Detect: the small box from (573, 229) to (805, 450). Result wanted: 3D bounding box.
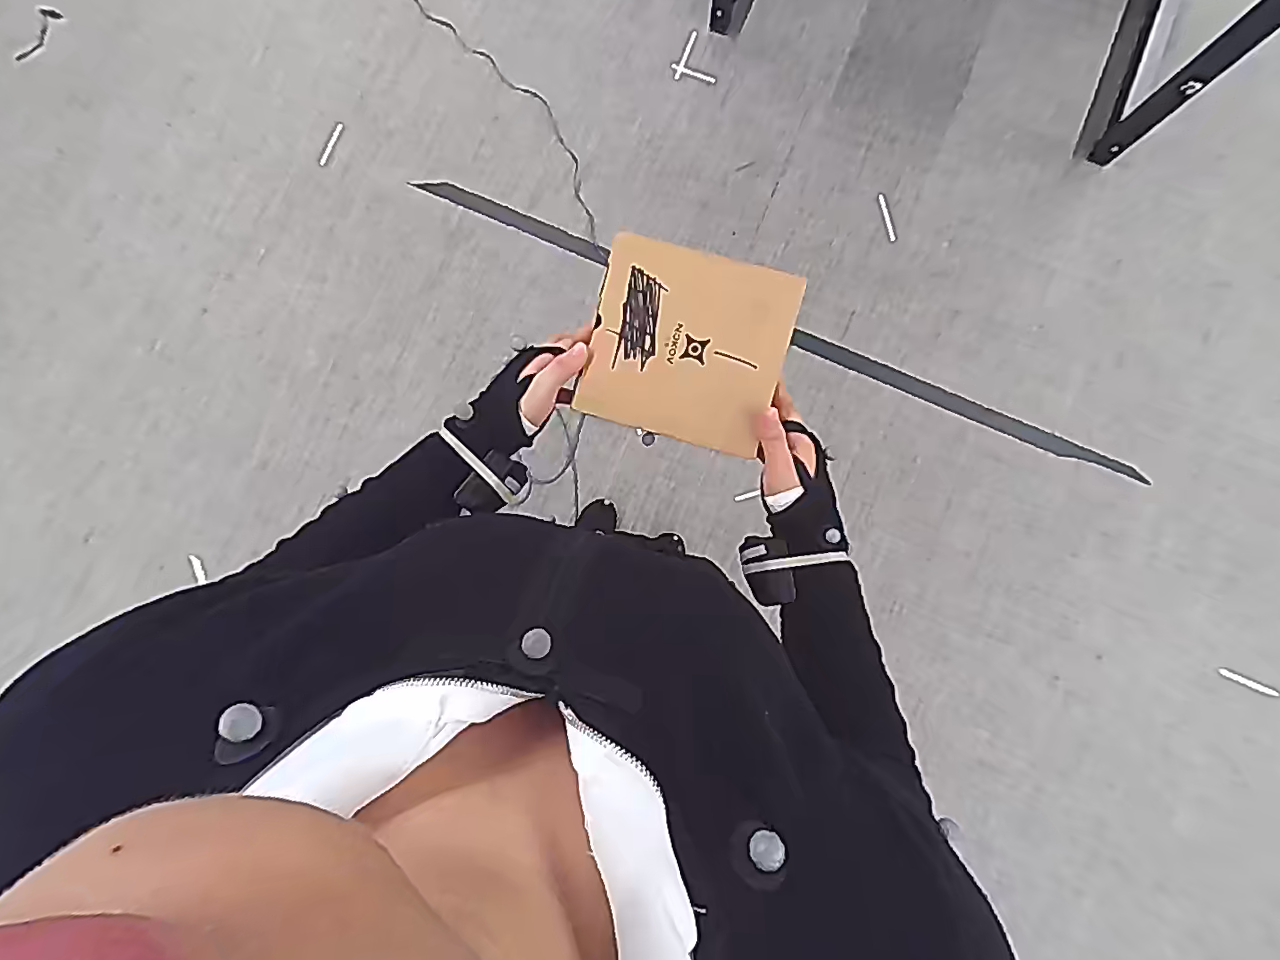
[{"bbox_3d":[0.047,-0.132,0.567,0.179,0.176,0.168,16,95,2],"label":"small box"}]
